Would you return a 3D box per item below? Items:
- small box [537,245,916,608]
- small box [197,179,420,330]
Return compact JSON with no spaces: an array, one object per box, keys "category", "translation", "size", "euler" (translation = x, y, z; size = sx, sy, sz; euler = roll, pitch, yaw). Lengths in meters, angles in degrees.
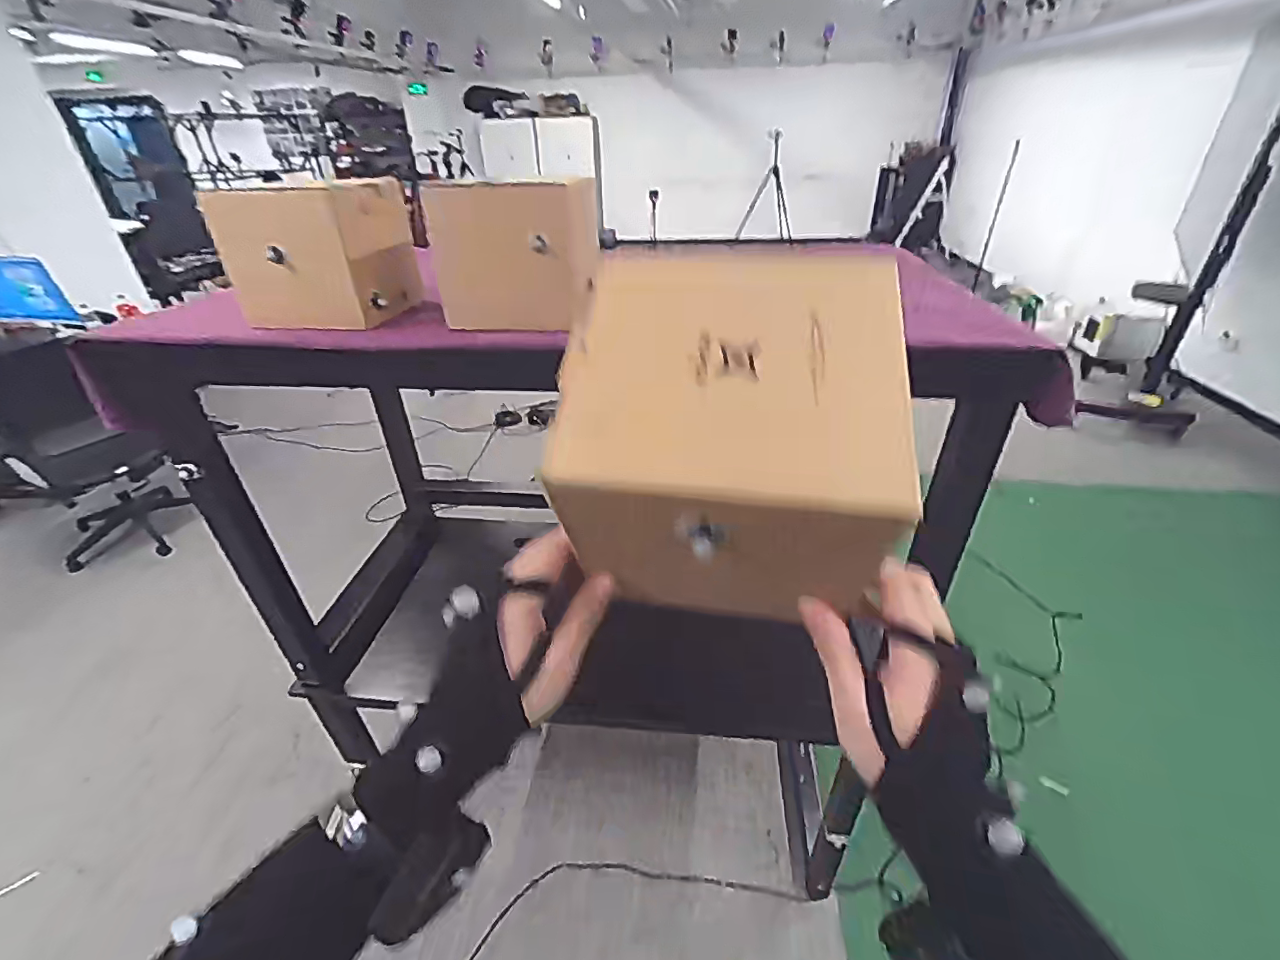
[{"category":"small box","translation":[0.057,-0.028,0.353],"size":[0.179,0.176,0.168],"euler":[6,60,11]},{"category":"small box","translation":[-0.430,-0.309,0.741],"size":[0.179,0.176,0.168],"euler":[2,32,7]}]
